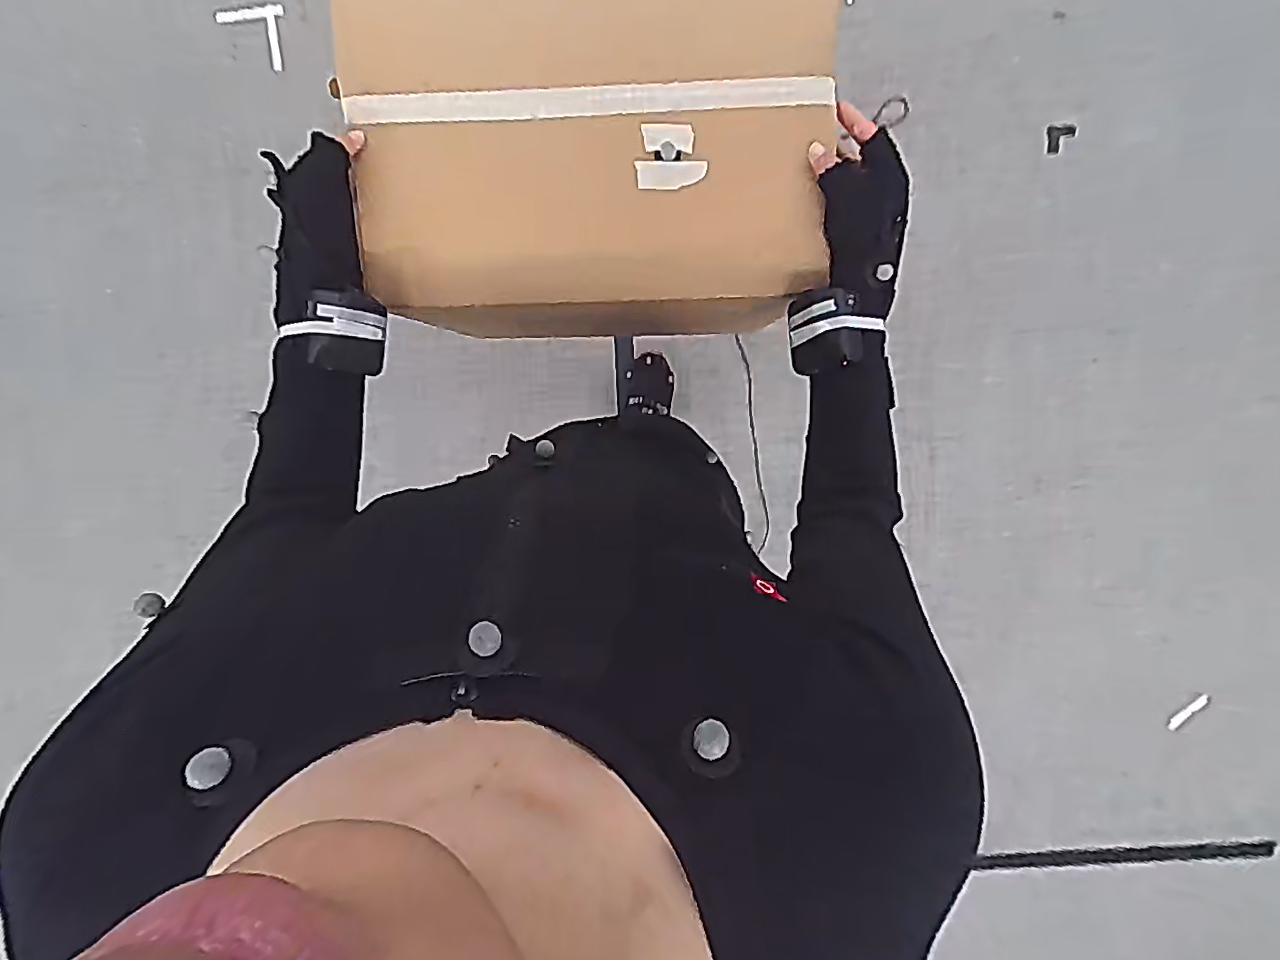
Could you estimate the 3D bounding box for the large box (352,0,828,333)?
[{"bbox_3d":[-0.040,-0.348,0.608,0.408,0.320,0.320,-2,100,0],"label":"large box"}]
